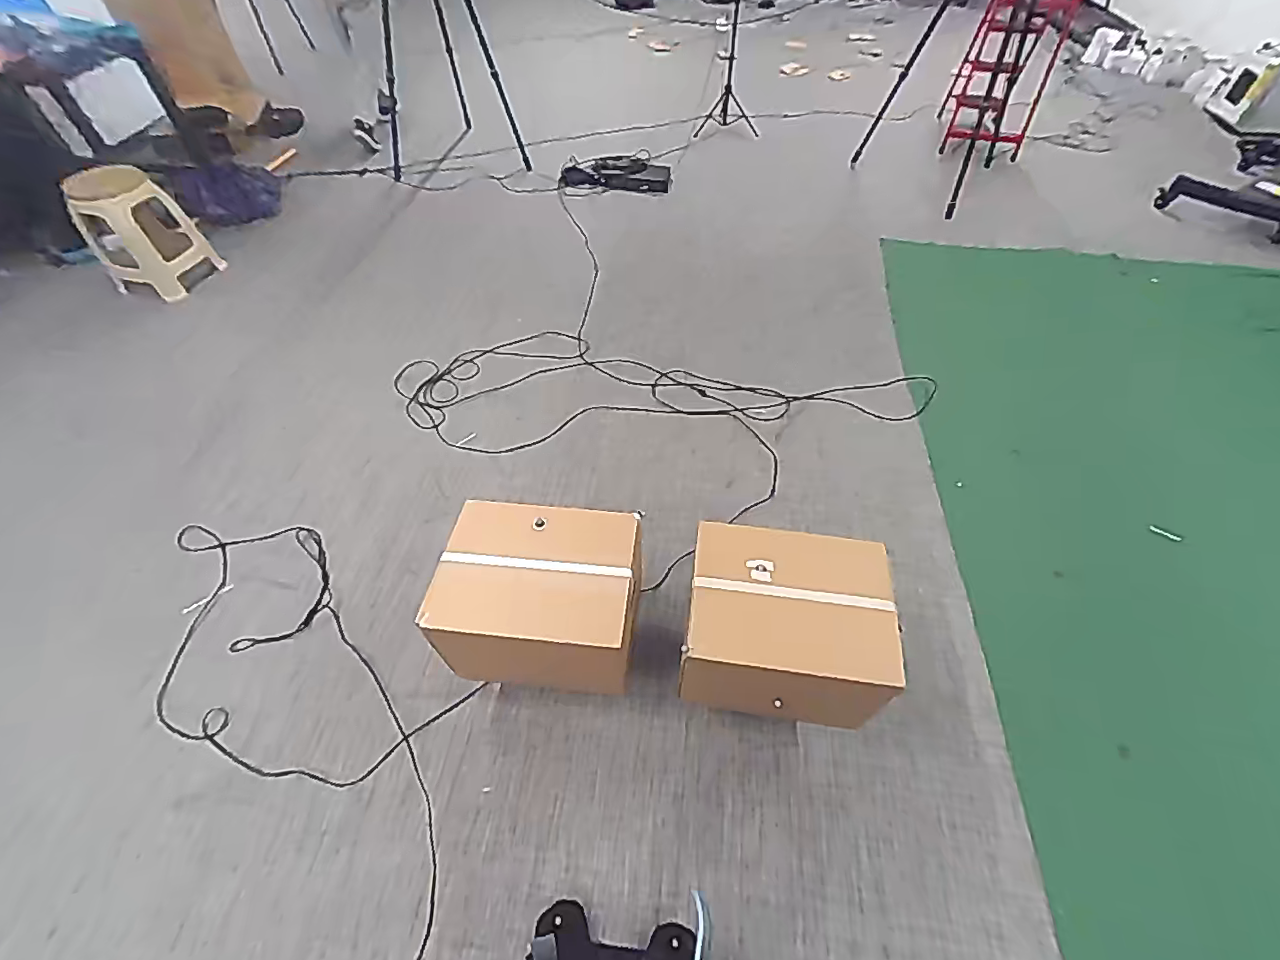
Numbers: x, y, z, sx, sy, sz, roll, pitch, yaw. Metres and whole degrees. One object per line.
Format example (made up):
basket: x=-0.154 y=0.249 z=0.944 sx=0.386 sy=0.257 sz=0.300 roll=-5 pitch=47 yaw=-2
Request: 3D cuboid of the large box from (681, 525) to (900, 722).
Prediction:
large box: x=0.313 y=0.330 z=1.228 sx=0.408 sy=0.320 sz=0.320 roll=7 pitch=52 yaw=6
